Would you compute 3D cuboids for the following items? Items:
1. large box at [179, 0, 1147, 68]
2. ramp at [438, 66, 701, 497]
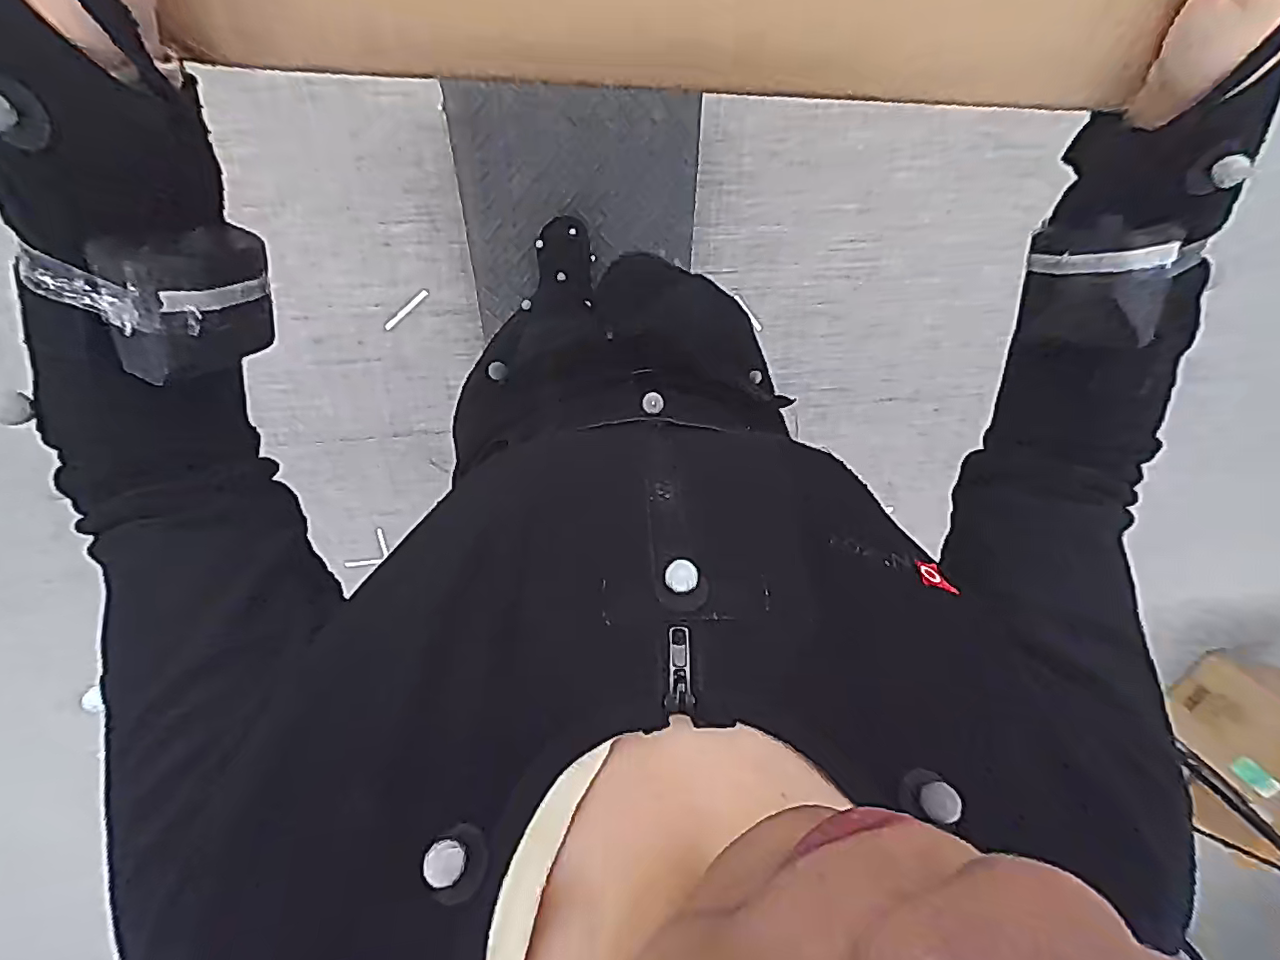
[{"bbox_3d":[0.012,-0.394,0.221,0.408,0.320,0.320,-3,137,-7],"label":"large box"},{"bbox_3d":[-0.128,-0.367,1.299,0.509,0.206,0.991,-6,118,-7],"label":"ramp"}]
